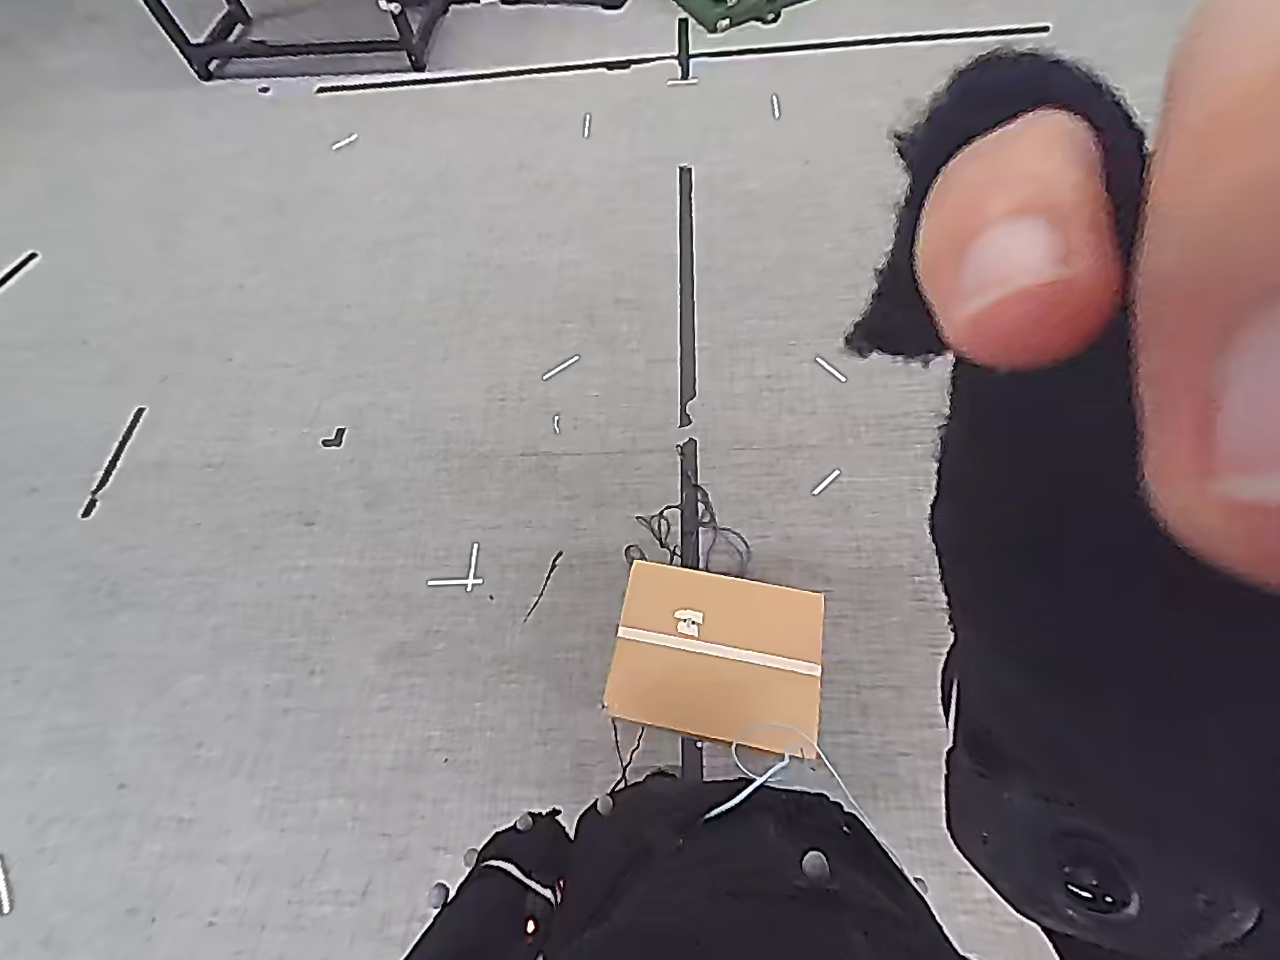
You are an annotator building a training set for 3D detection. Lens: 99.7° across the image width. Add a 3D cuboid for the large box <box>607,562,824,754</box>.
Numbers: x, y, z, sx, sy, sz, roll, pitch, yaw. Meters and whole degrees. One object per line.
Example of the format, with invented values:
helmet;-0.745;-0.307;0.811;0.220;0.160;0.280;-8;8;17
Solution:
large box;0.168;0.405;1.209;0.408;0.320;0.320;9;63;8
